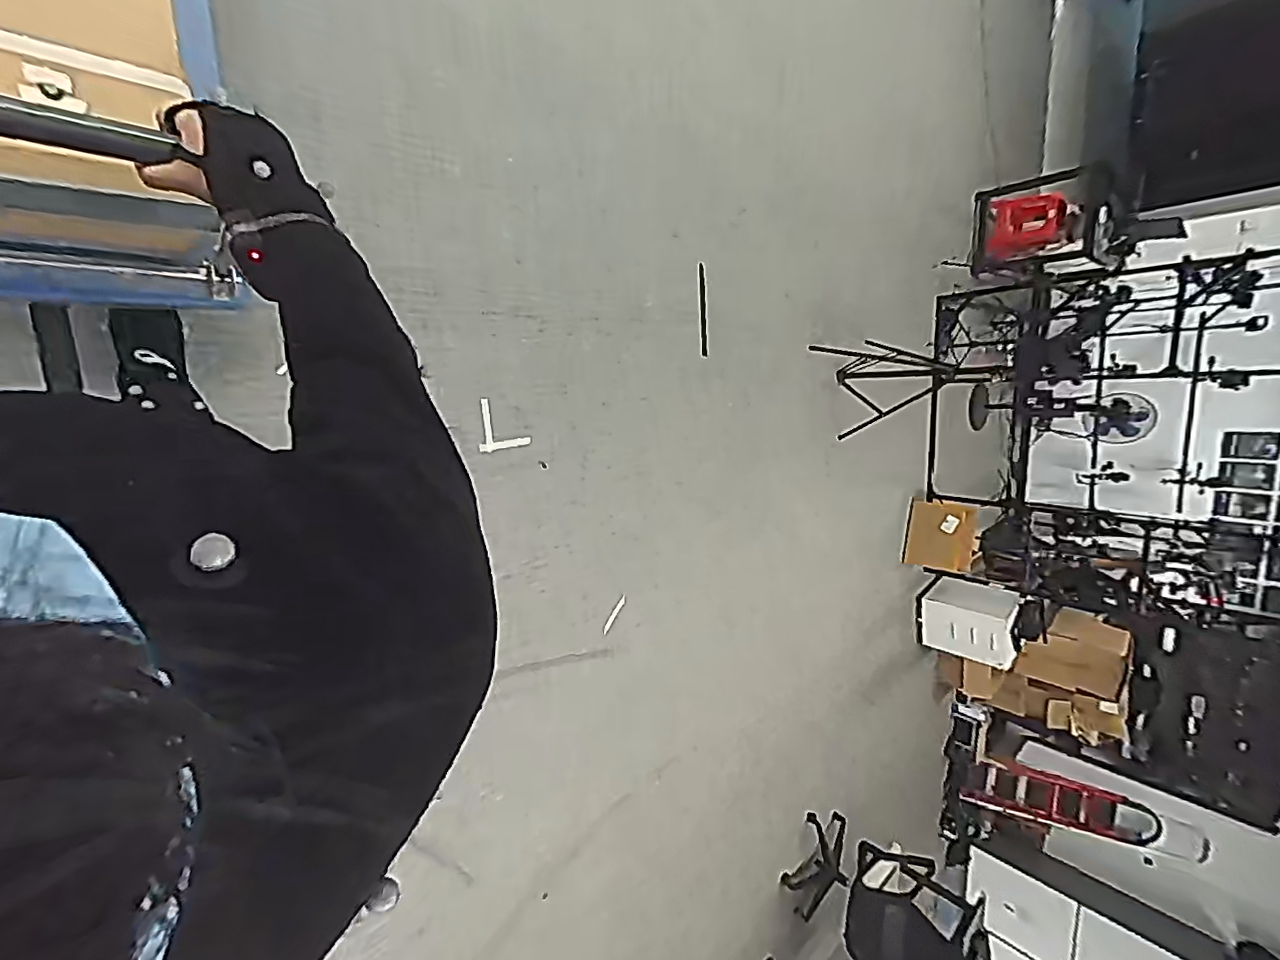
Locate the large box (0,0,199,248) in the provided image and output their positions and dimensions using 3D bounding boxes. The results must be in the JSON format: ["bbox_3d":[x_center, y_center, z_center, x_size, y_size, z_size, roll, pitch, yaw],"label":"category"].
[{"bbox_3d":[-0.884,-0.526,0.720,0.408,0.320,0.320,-11,104,-43],"label":"large box"}]
